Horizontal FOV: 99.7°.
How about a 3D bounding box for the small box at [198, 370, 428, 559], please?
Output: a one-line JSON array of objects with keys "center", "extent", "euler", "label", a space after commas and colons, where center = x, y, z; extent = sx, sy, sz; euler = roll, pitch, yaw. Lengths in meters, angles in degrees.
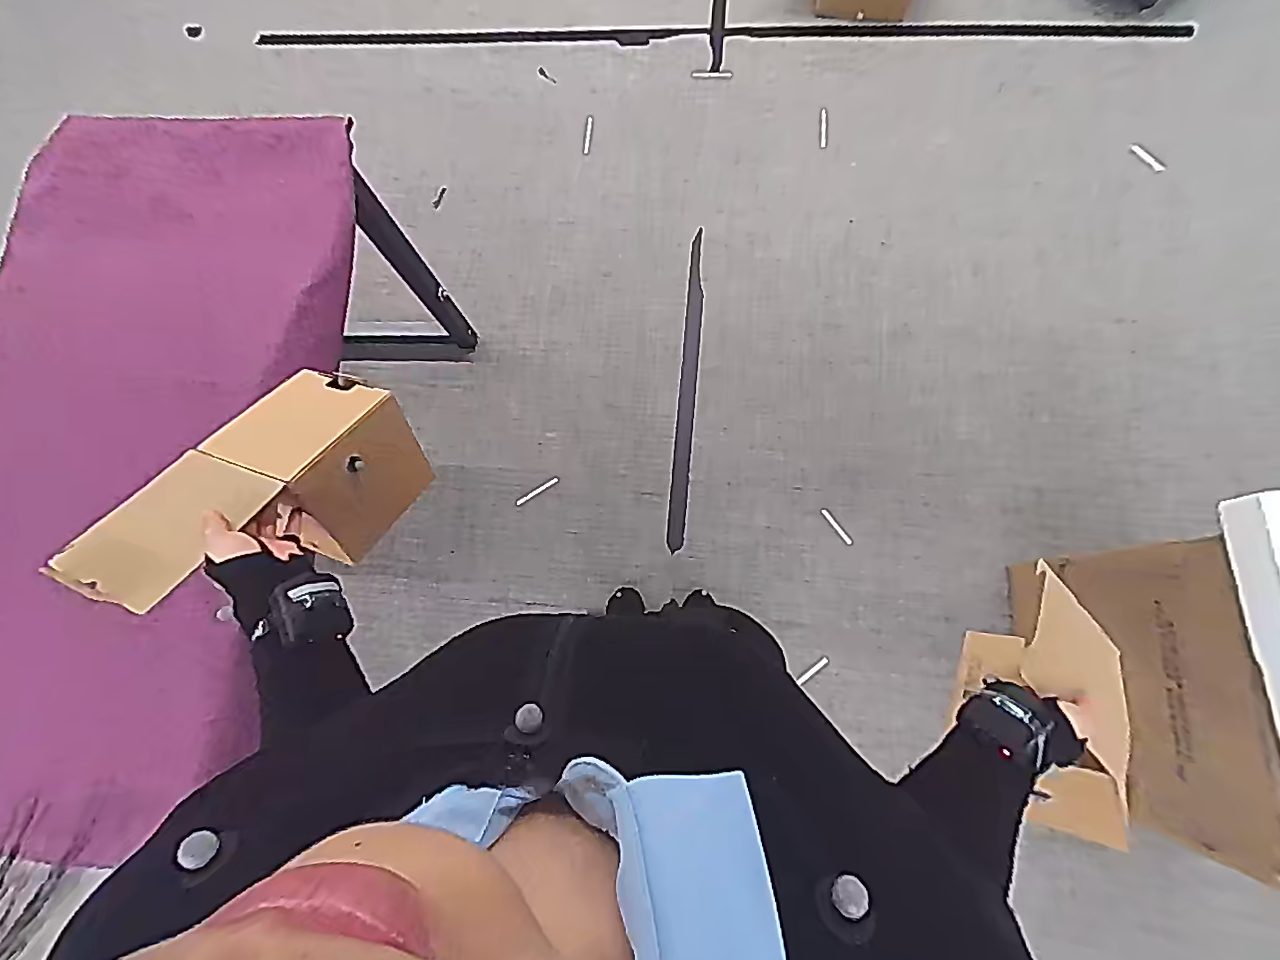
[{"center": [-0.424, -0.020, 0.737], "extent": [0.168, 0.176, 0.179], "euler": [15, 50, 19], "label": "small box"}]
